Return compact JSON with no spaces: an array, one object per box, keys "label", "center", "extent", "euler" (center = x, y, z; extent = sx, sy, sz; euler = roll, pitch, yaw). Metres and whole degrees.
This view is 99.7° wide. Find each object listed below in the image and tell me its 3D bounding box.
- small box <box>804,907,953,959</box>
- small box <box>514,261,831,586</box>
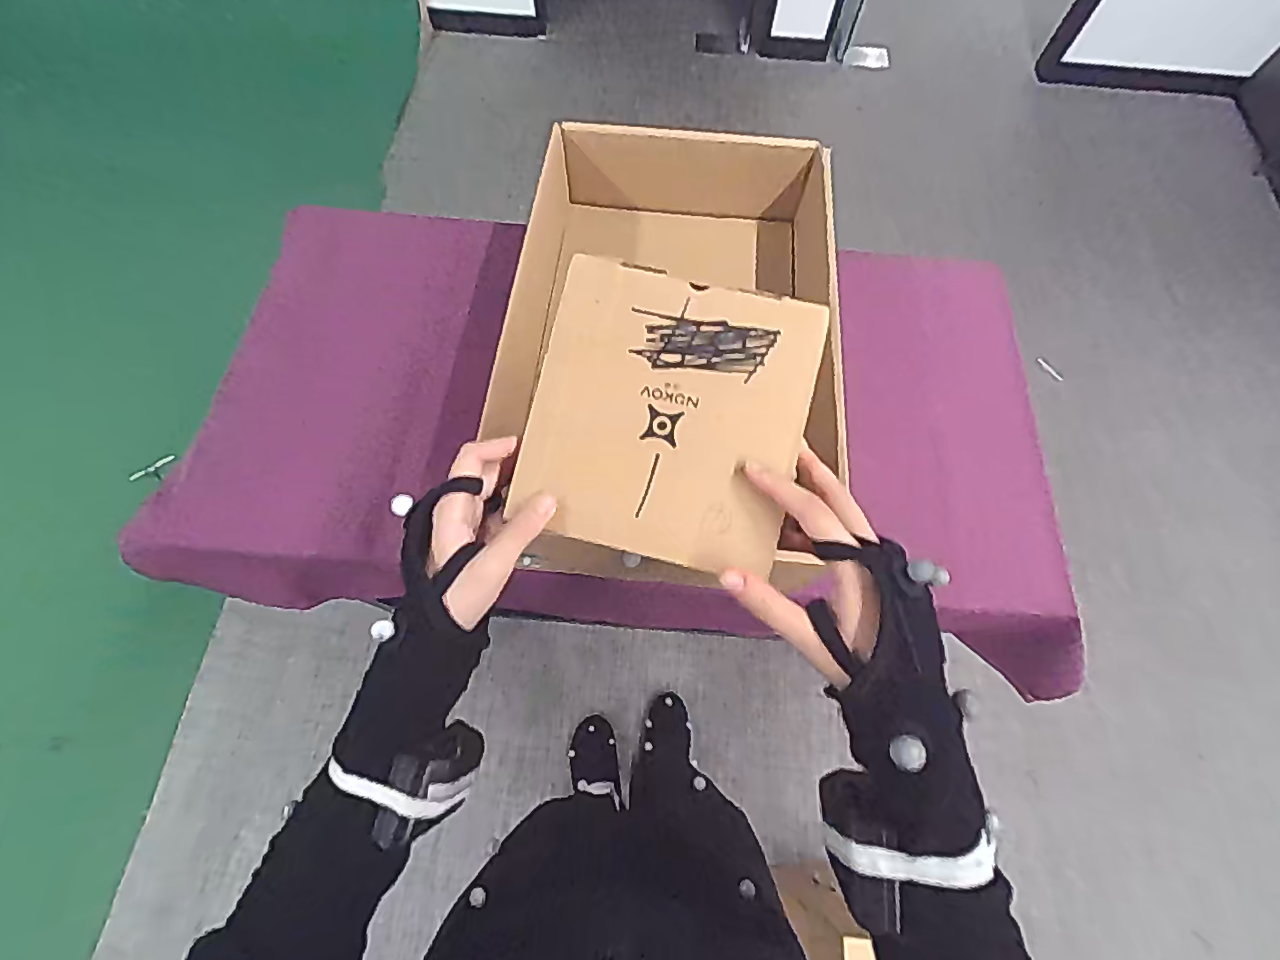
[{"label":"small box","center":[0.350,0.770,0.804],"extent":[0.168,0.176,0.179],"euler":[6,66,1]},{"label":"small box","center":[0.024,-0.031,0.413],"extent":[0.168,0.176,0.179],"euler":[14,86,5]}]
